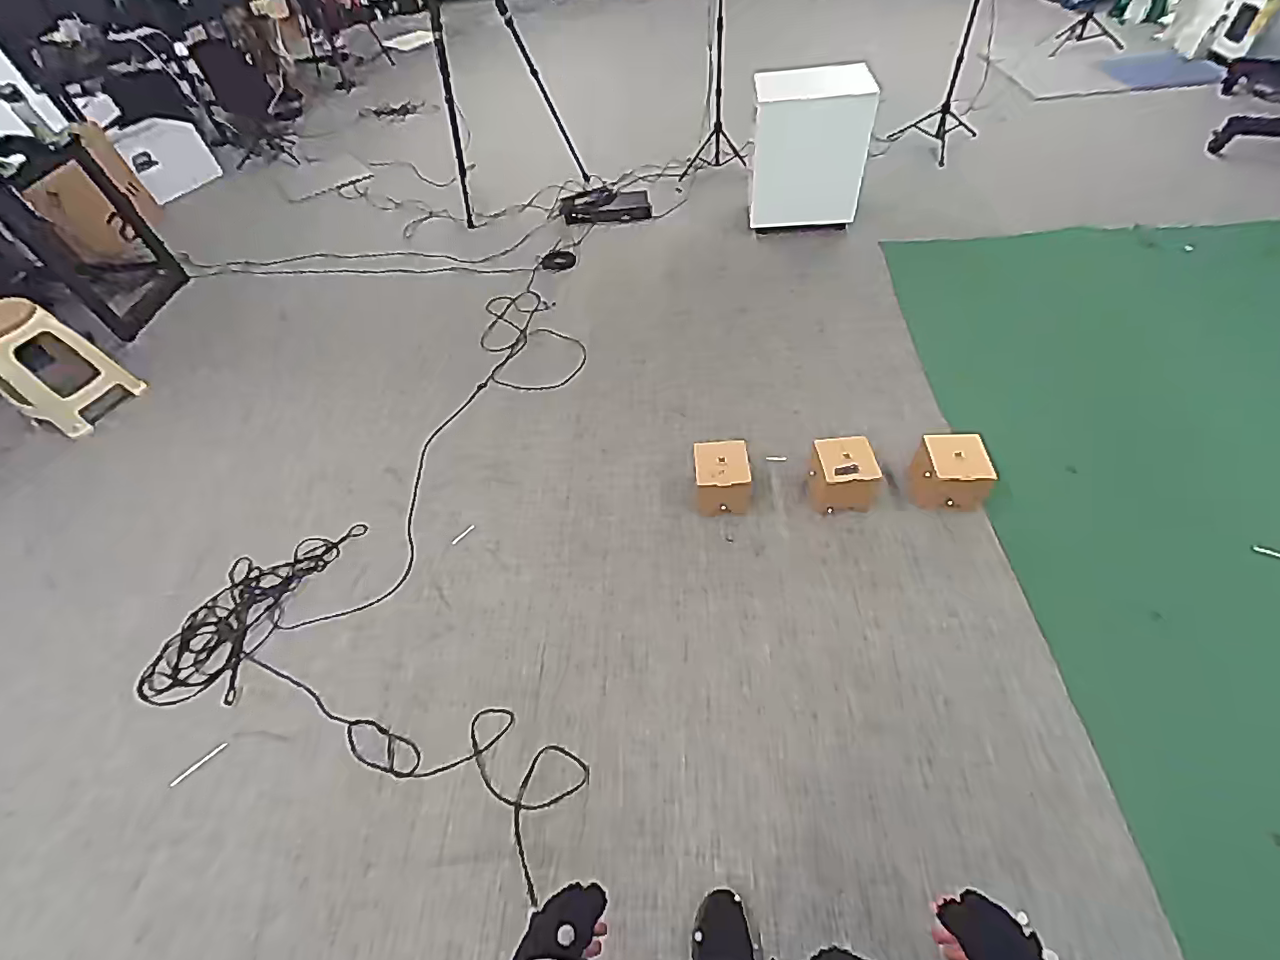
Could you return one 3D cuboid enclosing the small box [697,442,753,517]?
[{"bbox_3d":[0.269,0.000,1.748,0.168,0.176,0.179,-3,52,5],"label":"small box"}]

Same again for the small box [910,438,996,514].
[{"bbox_3d":[0.965,-0.012,1.687,0.168,0.176,0.179,-1,52,7],"label":"small box"}]

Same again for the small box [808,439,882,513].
[{"bbox_3d":[0.643,-0.007,1.716,0.168,0.176,0.179,-4,51,2],"label":"small box"}]
